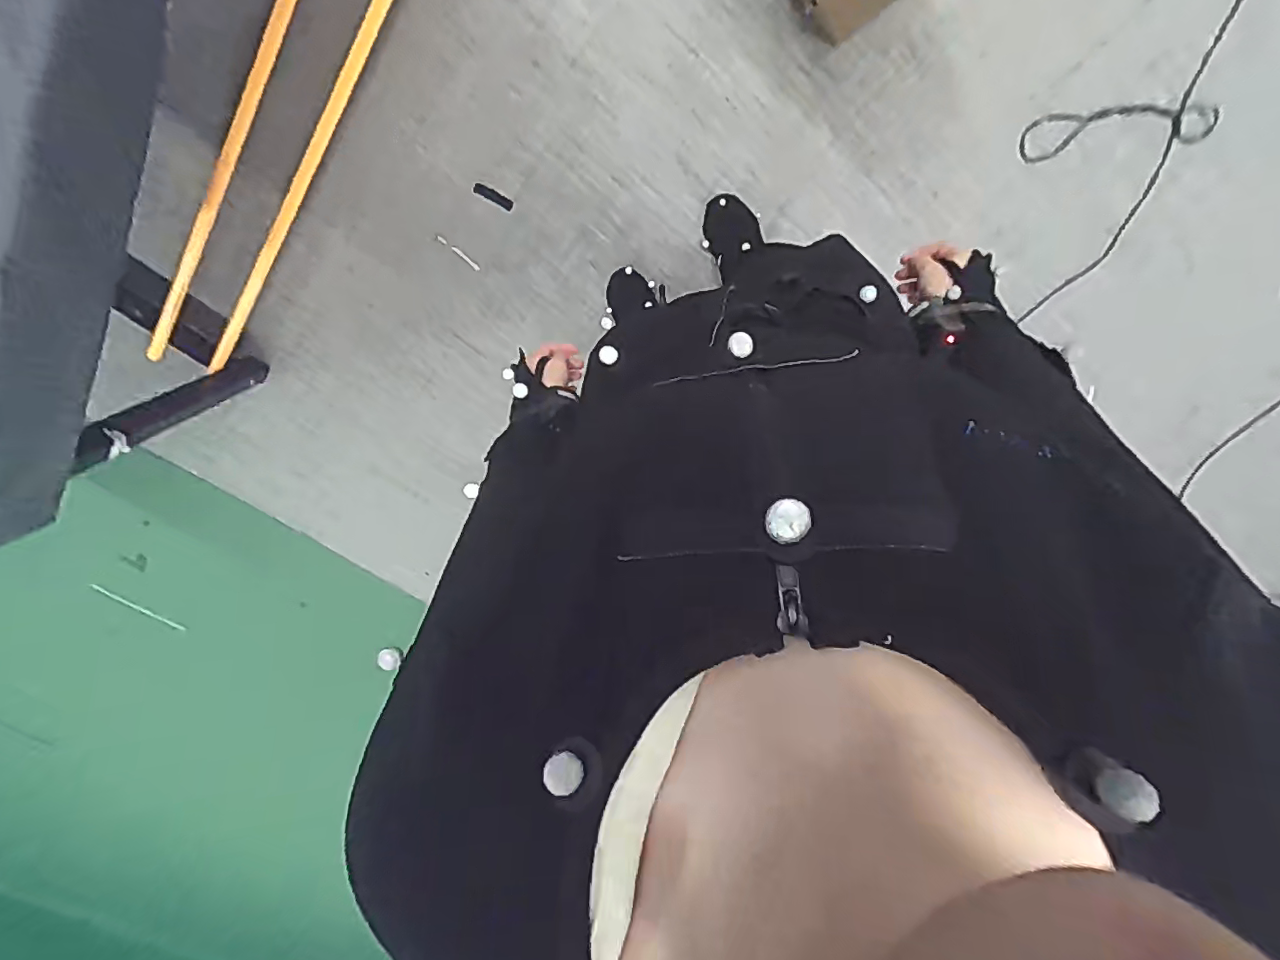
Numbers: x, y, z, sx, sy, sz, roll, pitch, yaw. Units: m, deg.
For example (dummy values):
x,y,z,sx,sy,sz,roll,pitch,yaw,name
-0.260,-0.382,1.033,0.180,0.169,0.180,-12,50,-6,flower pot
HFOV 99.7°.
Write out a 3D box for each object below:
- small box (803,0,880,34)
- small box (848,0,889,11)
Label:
x,y,z,sx,sy,sz,roll,pitch,yaw,name
0.353,-0.877,0.880,0.179,0.176,0.168,38,113,-18,small box
0.342,-0.797,0.740,0.179,0.176,0.168,36,114,-15,small box
